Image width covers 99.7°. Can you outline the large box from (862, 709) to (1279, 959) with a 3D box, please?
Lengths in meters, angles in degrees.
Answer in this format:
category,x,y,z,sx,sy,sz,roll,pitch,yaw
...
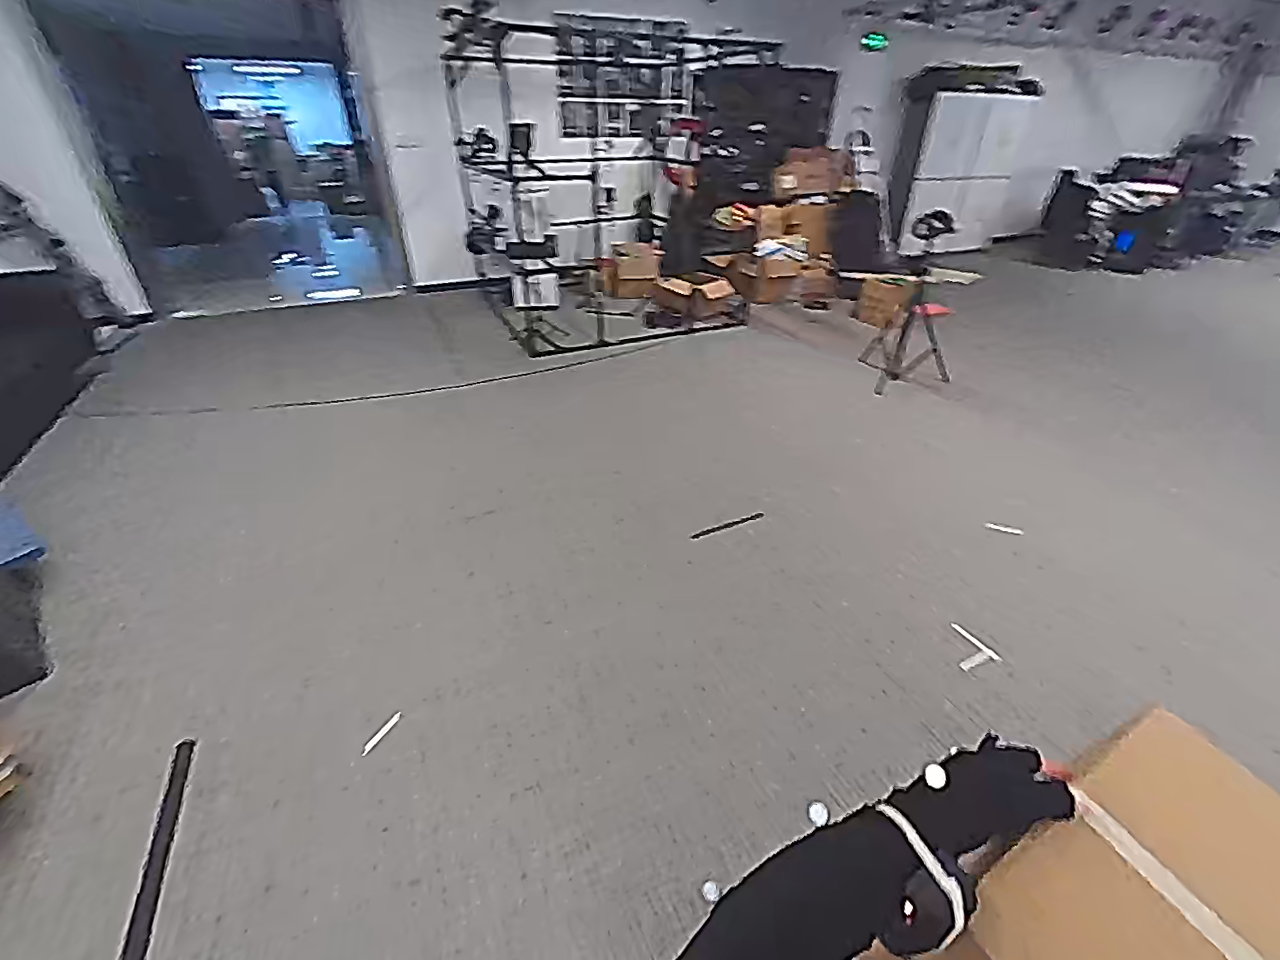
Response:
category,x,y,z,sx,sy,sz,roll,pitch,yaw
large box,0.484,0.503,0.471,0.320,0.320,0.408,-24,49,-19
